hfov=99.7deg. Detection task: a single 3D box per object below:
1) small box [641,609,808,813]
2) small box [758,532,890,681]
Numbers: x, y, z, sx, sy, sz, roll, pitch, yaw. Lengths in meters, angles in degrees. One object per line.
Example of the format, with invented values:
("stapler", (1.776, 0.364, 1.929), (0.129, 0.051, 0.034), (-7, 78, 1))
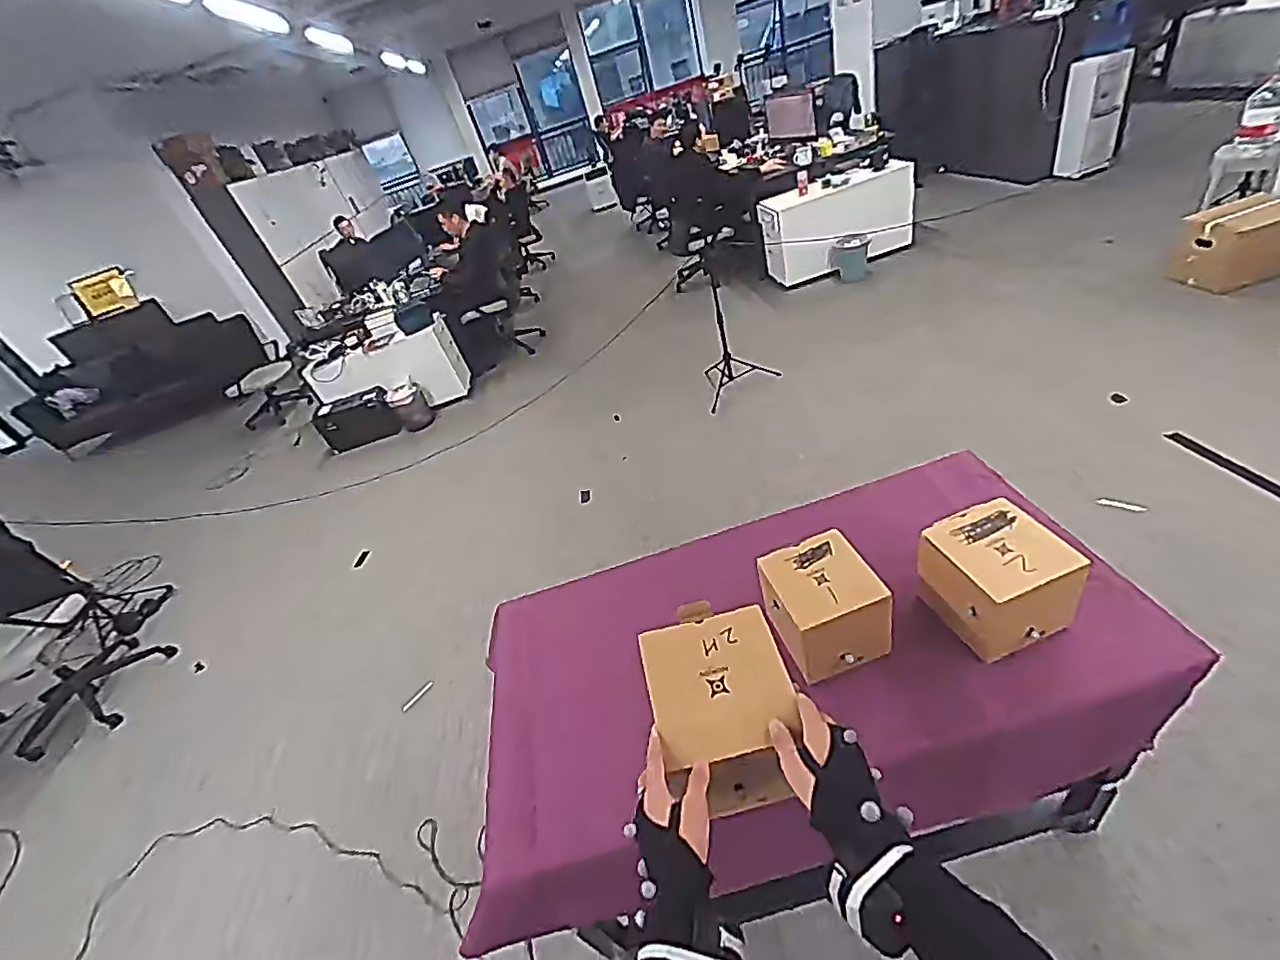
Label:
("small box", (0.107, 0.303, 0.699), (0.168, 0.176, 0.179), (-14, 39, -1))
("small box", (0.337, 0.234, 1.003), (0.168, 0.176, 0.179), (-22, 37, -2))
